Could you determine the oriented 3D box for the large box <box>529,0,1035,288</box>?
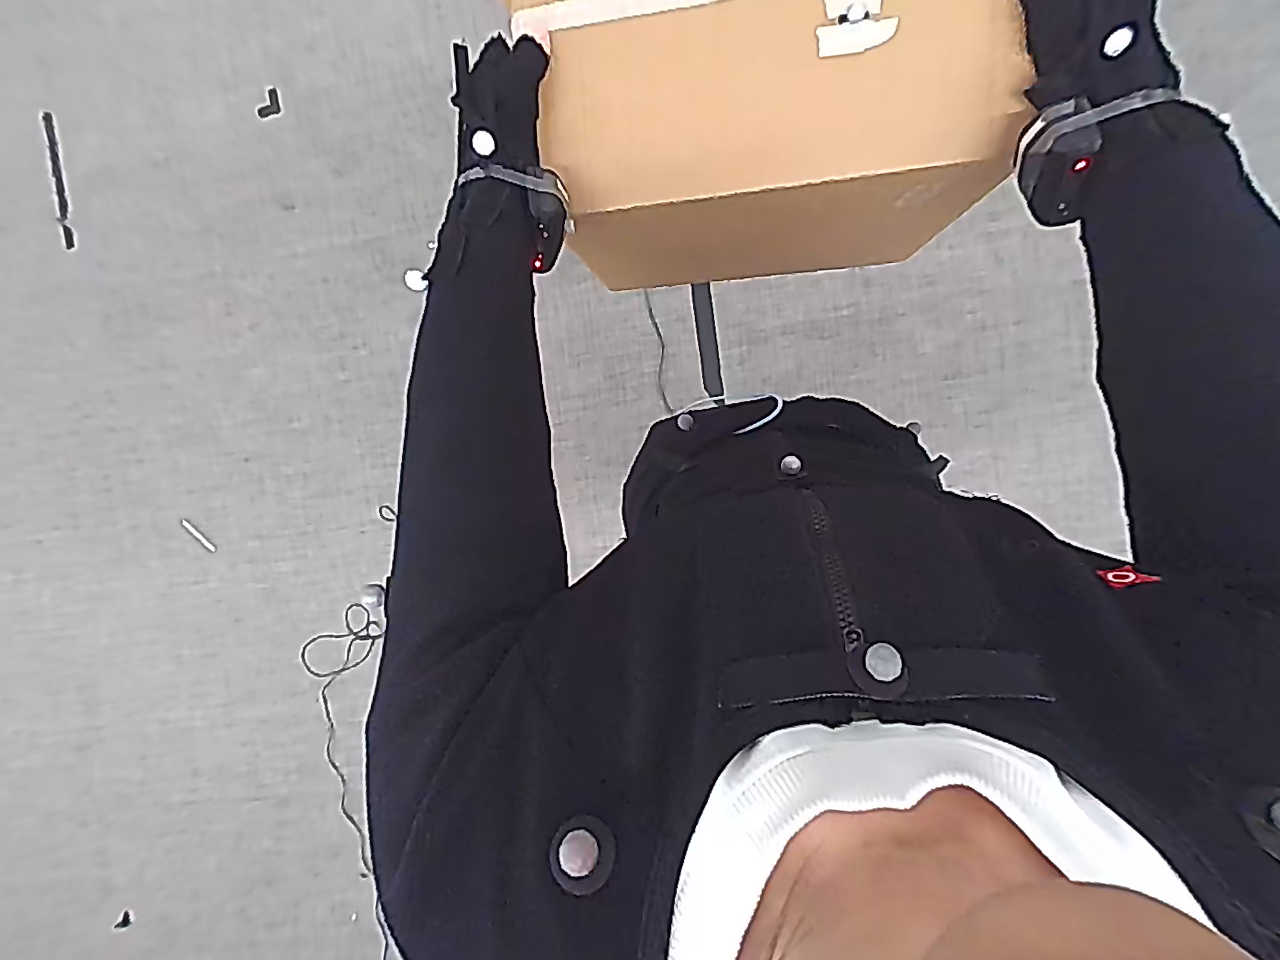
[{"bbox_3d":[0.120,-0.420,0.582,0.408,0.320,0.320,-4,97,8],"label":"large box"}]
